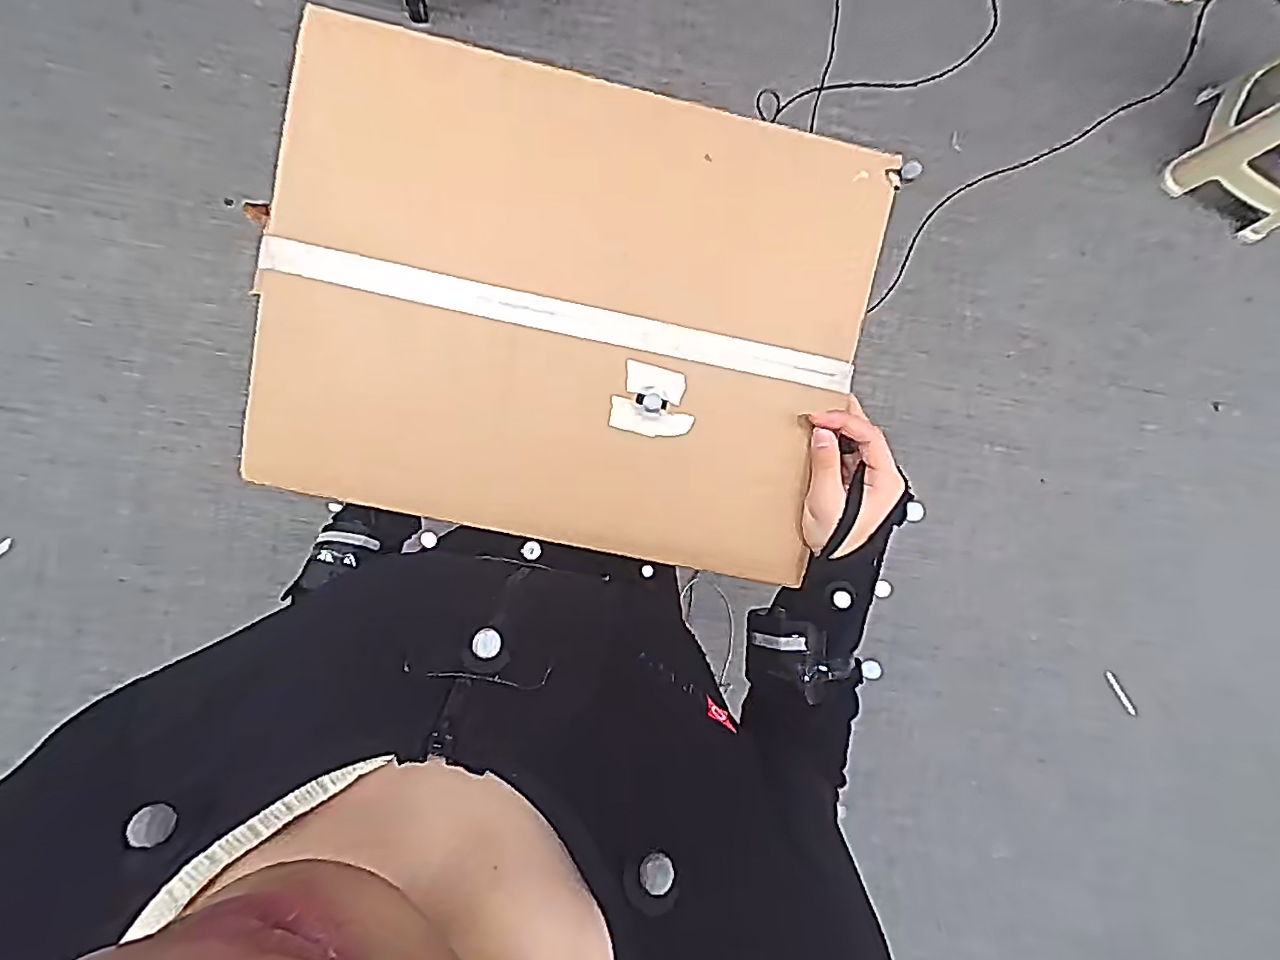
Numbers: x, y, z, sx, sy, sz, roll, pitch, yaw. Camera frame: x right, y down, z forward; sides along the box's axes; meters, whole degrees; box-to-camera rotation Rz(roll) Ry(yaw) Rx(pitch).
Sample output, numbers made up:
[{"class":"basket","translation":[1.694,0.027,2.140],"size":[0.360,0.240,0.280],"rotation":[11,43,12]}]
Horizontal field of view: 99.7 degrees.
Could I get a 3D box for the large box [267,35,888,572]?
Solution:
[{"class":"large box","translation":[-0.054,-0.126,0.530],"size":[0.408,0.320,0.320],"rotation":[11,96,-5]}]
